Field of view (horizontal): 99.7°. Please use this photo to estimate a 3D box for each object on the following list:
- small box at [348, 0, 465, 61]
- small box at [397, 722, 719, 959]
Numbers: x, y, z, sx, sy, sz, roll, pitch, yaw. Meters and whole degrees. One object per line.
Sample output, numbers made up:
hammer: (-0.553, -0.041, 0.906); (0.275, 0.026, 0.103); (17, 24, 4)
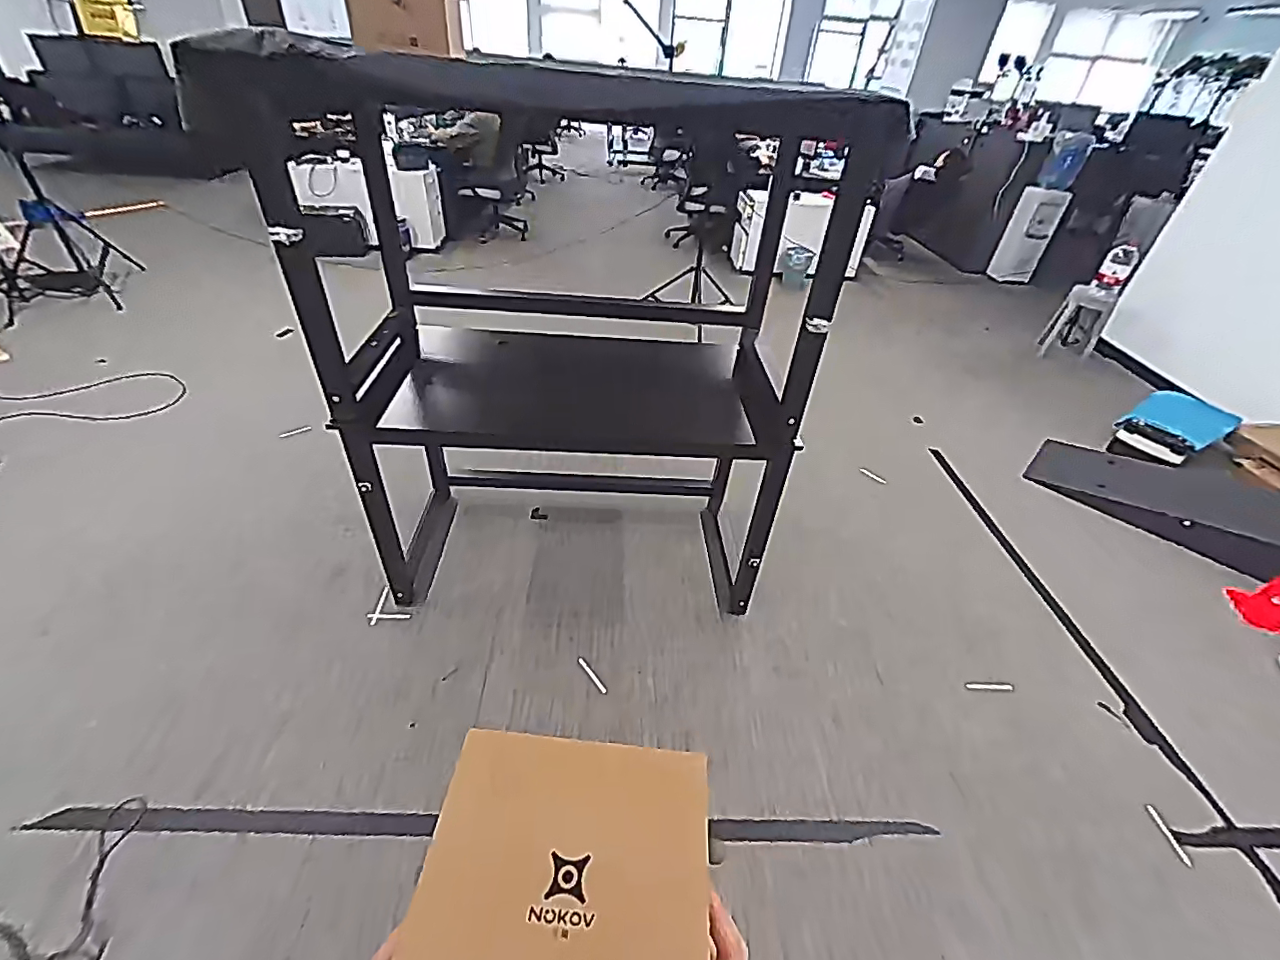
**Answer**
small box: (-0.412, -0.854, 0.957); (0.168, 0.176, 0.179); (0, 38, -8)
small box: (-0.044, 0.289, 0.350); (0.168, 0.176, 0.179); (5, 39, 2)
